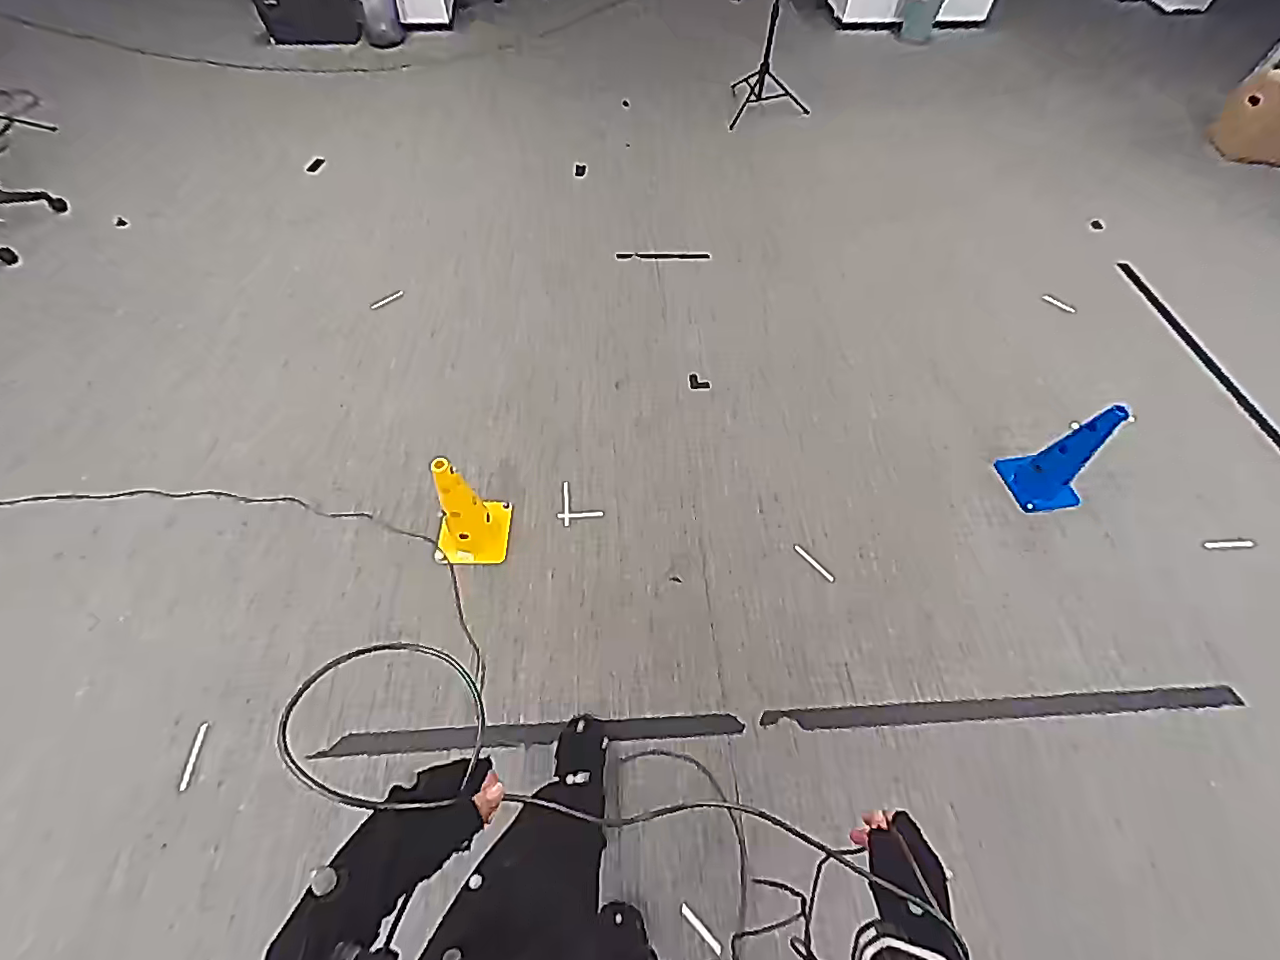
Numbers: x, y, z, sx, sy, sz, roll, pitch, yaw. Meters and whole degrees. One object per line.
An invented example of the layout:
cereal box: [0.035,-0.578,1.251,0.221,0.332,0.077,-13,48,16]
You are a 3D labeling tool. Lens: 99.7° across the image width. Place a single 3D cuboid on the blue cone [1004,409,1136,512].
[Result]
blue cone: [1.267,-0.079,1.565,0.193,0.380,0.192,-7,58,-6]
